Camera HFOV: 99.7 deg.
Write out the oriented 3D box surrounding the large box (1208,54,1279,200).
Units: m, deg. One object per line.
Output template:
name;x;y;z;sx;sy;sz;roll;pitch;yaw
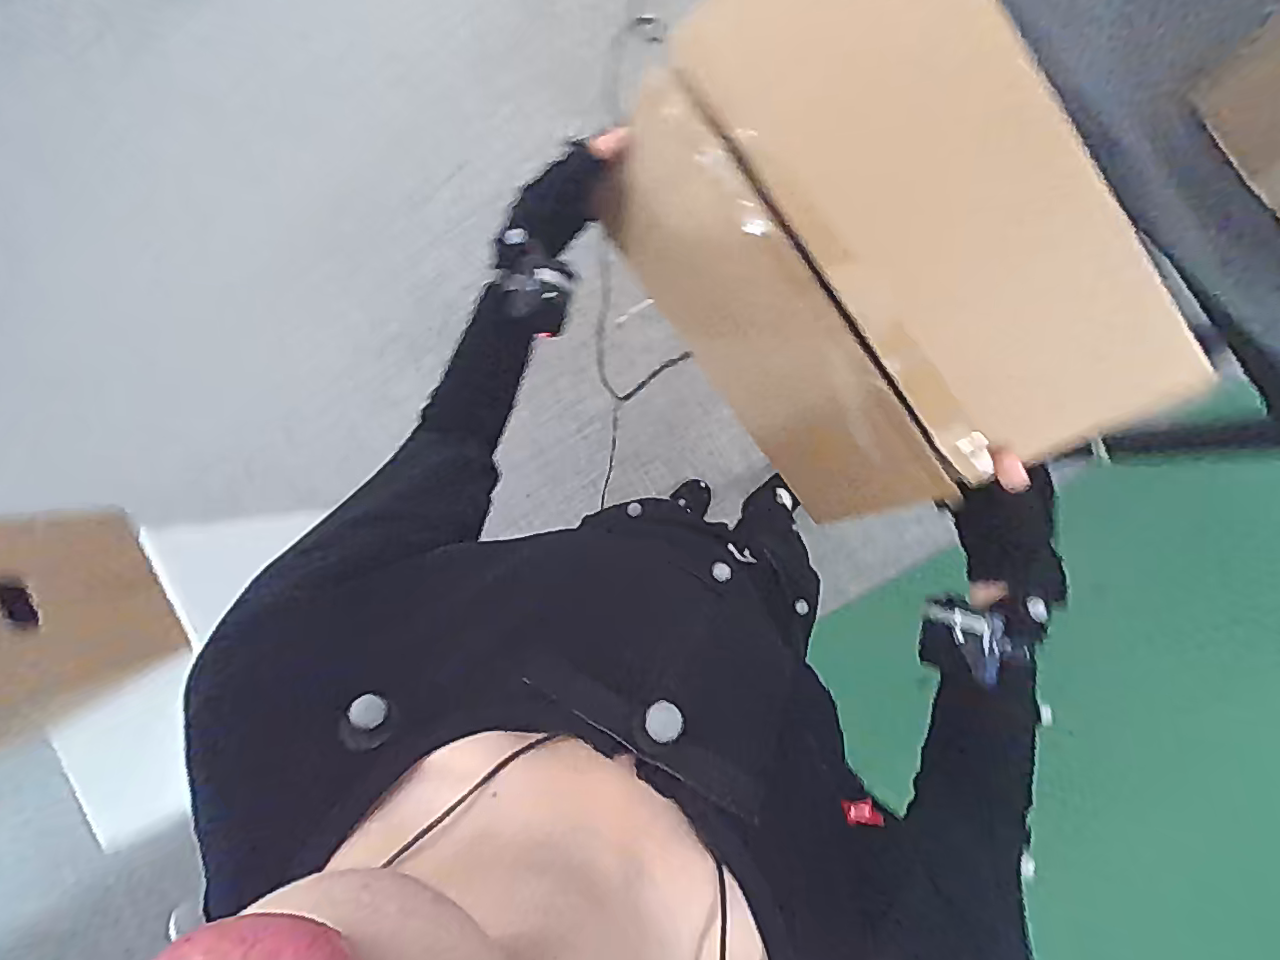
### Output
large box;0.938;-0.450;0.510;0.408;0.320;0.320;-32;87;5
